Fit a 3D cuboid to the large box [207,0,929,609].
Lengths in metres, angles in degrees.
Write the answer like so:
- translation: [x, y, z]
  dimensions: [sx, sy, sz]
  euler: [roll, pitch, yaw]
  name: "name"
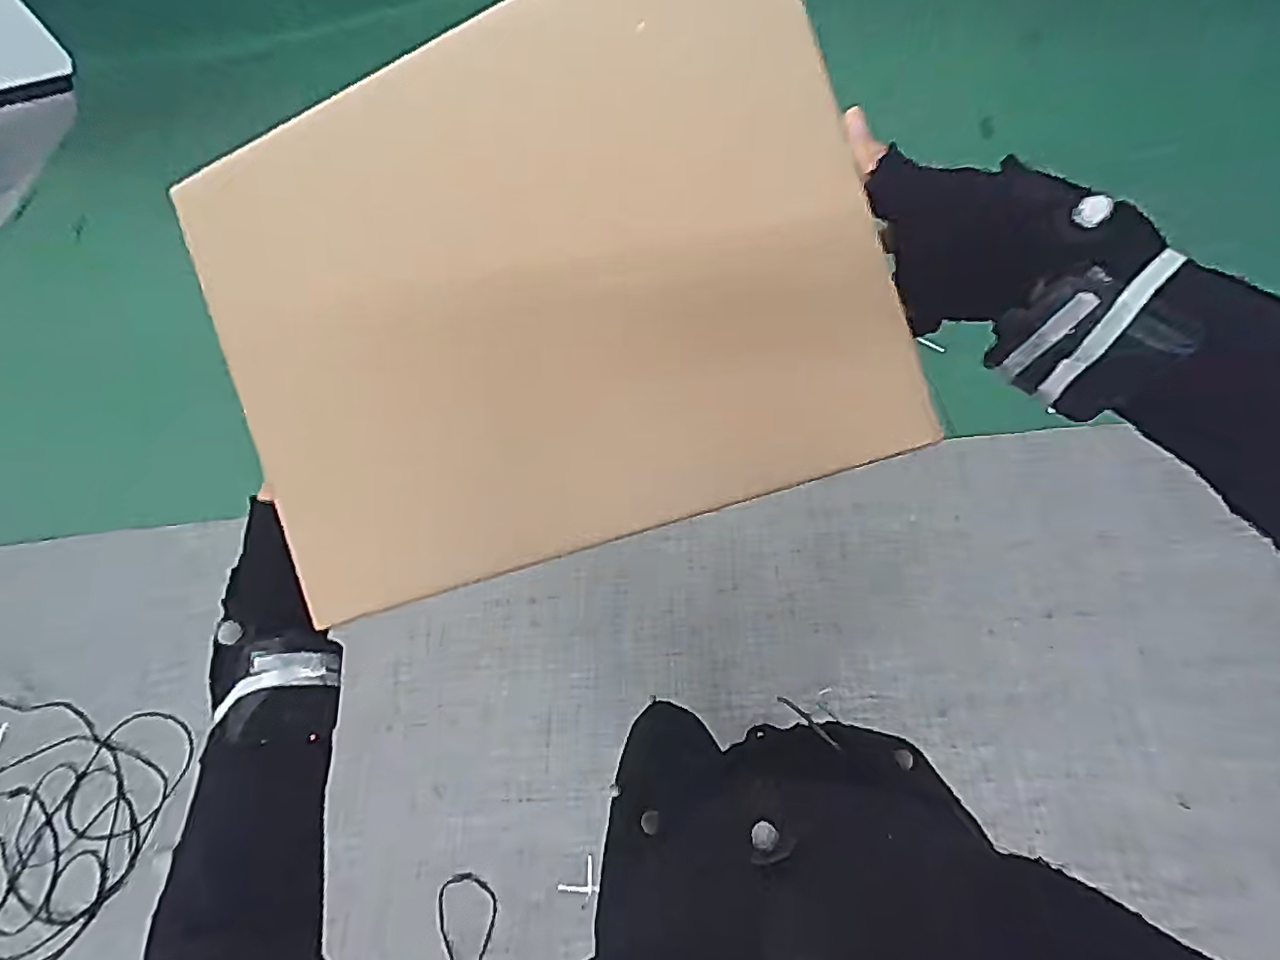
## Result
- translation: [-0.041, -0.116, 0.471]
  dimensions: [0.408, 0.320, 0.320]
  euler: [-18, 91, 13]
  name: "large box"
